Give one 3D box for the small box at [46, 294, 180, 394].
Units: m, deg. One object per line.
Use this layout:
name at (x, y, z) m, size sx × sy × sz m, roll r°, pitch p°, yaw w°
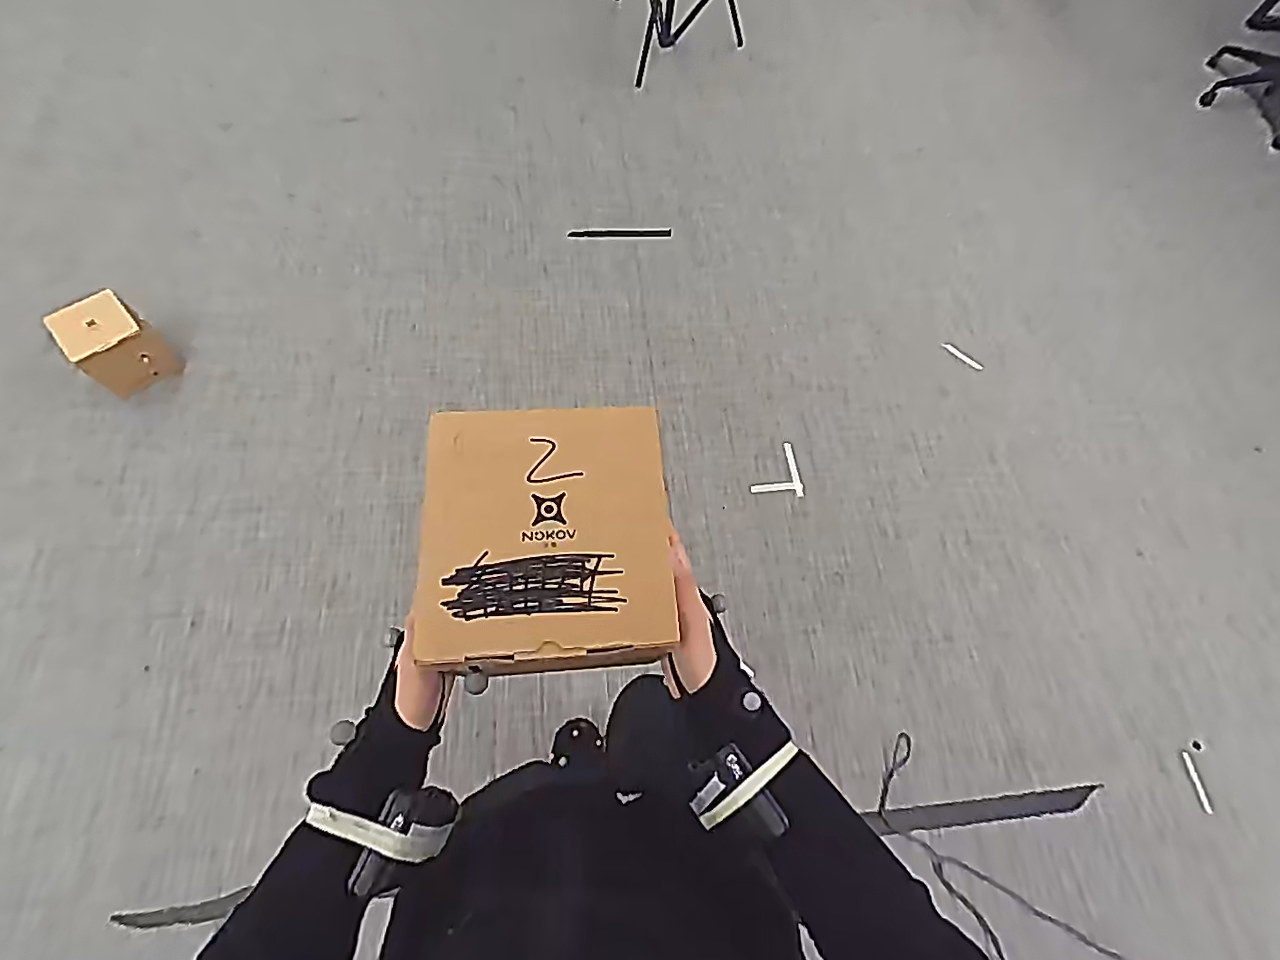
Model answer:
small box at (-1.407, -0.356, 1.458) m, size 0.168 × 0.176 × 0.179 m, roll -40°, pitch 76°, yaw -21°
